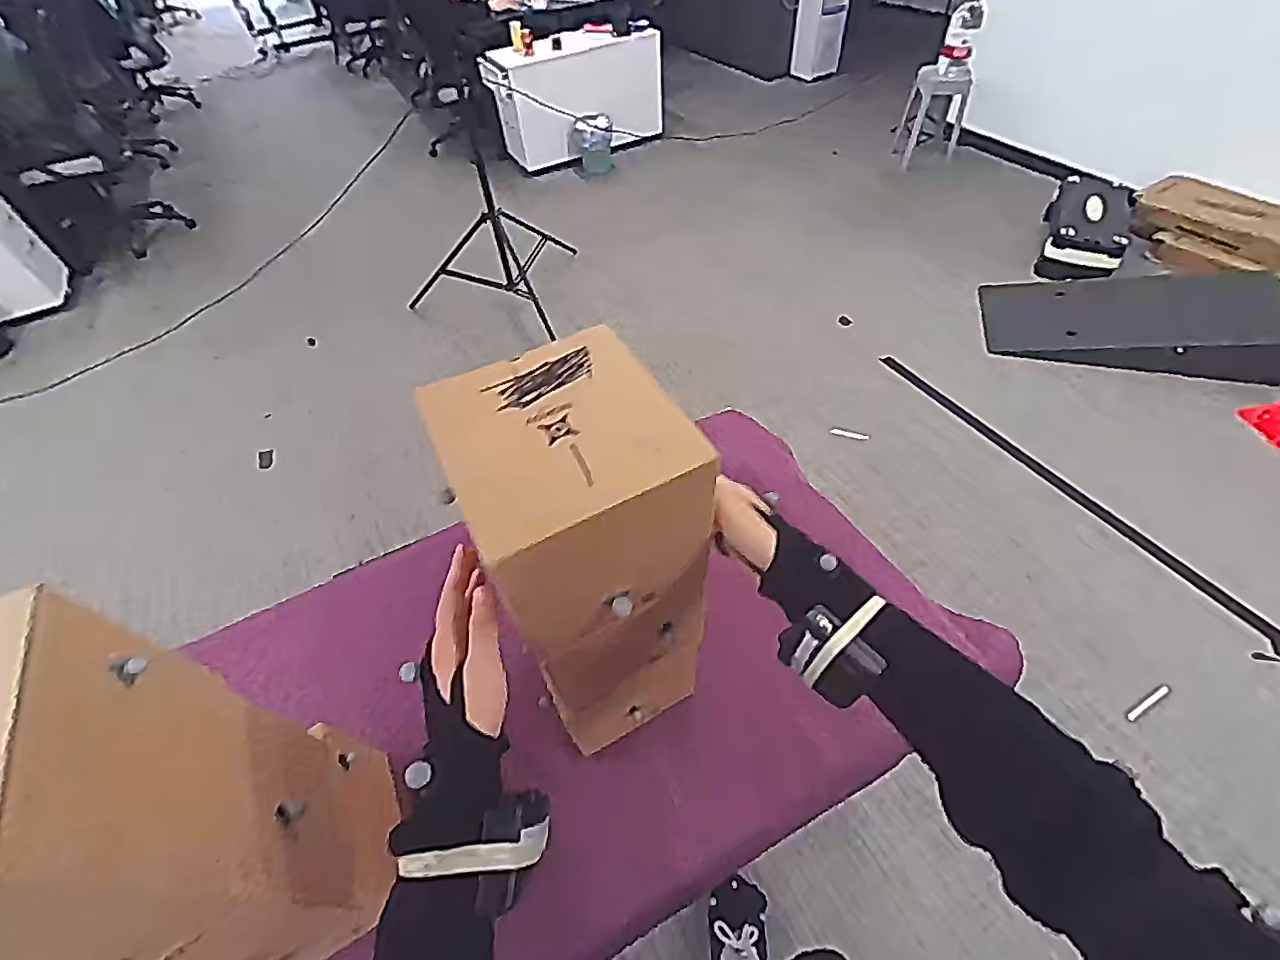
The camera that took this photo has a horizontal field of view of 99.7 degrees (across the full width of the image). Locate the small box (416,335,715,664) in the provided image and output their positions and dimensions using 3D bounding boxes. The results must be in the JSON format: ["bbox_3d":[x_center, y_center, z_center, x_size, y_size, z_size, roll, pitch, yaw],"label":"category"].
[{"bbox_3d":[-0.058,0.017,0.447,0.168,0.176,0.179,-25,55,-15],"label":"small box"}]

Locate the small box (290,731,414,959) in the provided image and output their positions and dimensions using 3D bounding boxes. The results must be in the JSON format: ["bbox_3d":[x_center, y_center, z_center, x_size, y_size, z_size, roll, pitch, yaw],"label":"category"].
[{"bbox_3d":[-0.367,0.410,0.580,0.168,0.176,0.179,-26,54,-16],"label":"small box"}]

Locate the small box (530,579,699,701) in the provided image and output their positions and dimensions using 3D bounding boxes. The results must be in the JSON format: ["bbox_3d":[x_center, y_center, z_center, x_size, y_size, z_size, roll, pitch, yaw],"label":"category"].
[{"bbox_3d":[-0.049,0.113,0.581,0.168,0.176,0.179,-24,53,-15],"label":"small box"}]

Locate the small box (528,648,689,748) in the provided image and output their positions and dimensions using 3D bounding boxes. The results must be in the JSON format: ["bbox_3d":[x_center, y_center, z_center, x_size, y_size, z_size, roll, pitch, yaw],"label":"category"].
[{"bbox_3d":[-0.047,0.221,0.702,0.168,0.176,0.179,-25,54,-15],"label":"small box"}]

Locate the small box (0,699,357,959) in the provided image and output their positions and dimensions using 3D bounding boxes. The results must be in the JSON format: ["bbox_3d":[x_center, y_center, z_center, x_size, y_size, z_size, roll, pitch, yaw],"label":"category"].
[{"bbox_3d":[-0.364,0.320,0.441,0.168,0.176,0.179,-30,55,-18],"label":"small box"}]
